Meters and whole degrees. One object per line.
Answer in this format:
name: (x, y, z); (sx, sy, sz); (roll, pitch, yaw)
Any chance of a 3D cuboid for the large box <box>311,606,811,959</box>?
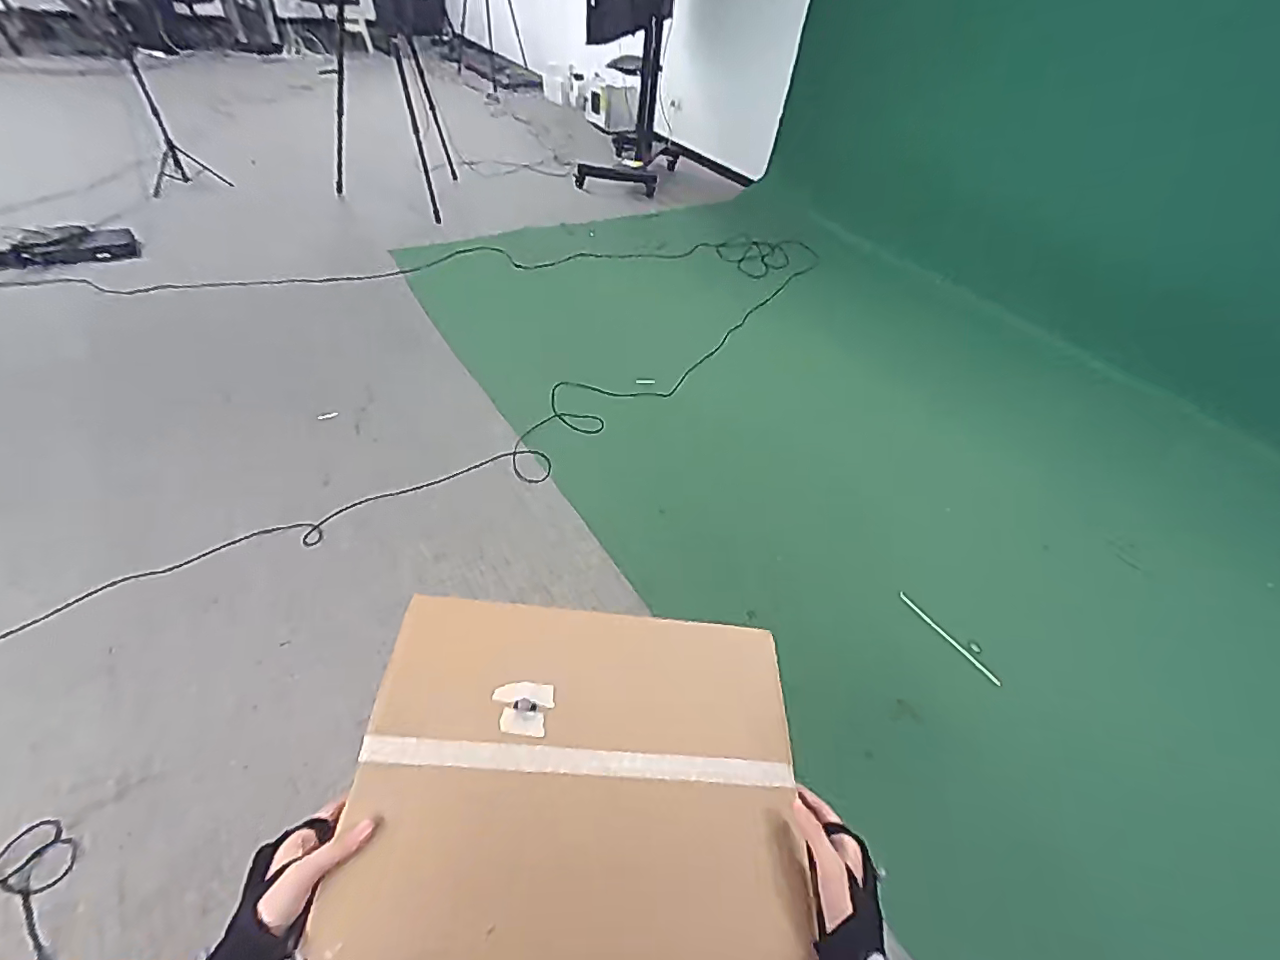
large box: (-0.073, 0.370, 0.632); (0.408, 0.320, 0.320); (7, 48, -6)
